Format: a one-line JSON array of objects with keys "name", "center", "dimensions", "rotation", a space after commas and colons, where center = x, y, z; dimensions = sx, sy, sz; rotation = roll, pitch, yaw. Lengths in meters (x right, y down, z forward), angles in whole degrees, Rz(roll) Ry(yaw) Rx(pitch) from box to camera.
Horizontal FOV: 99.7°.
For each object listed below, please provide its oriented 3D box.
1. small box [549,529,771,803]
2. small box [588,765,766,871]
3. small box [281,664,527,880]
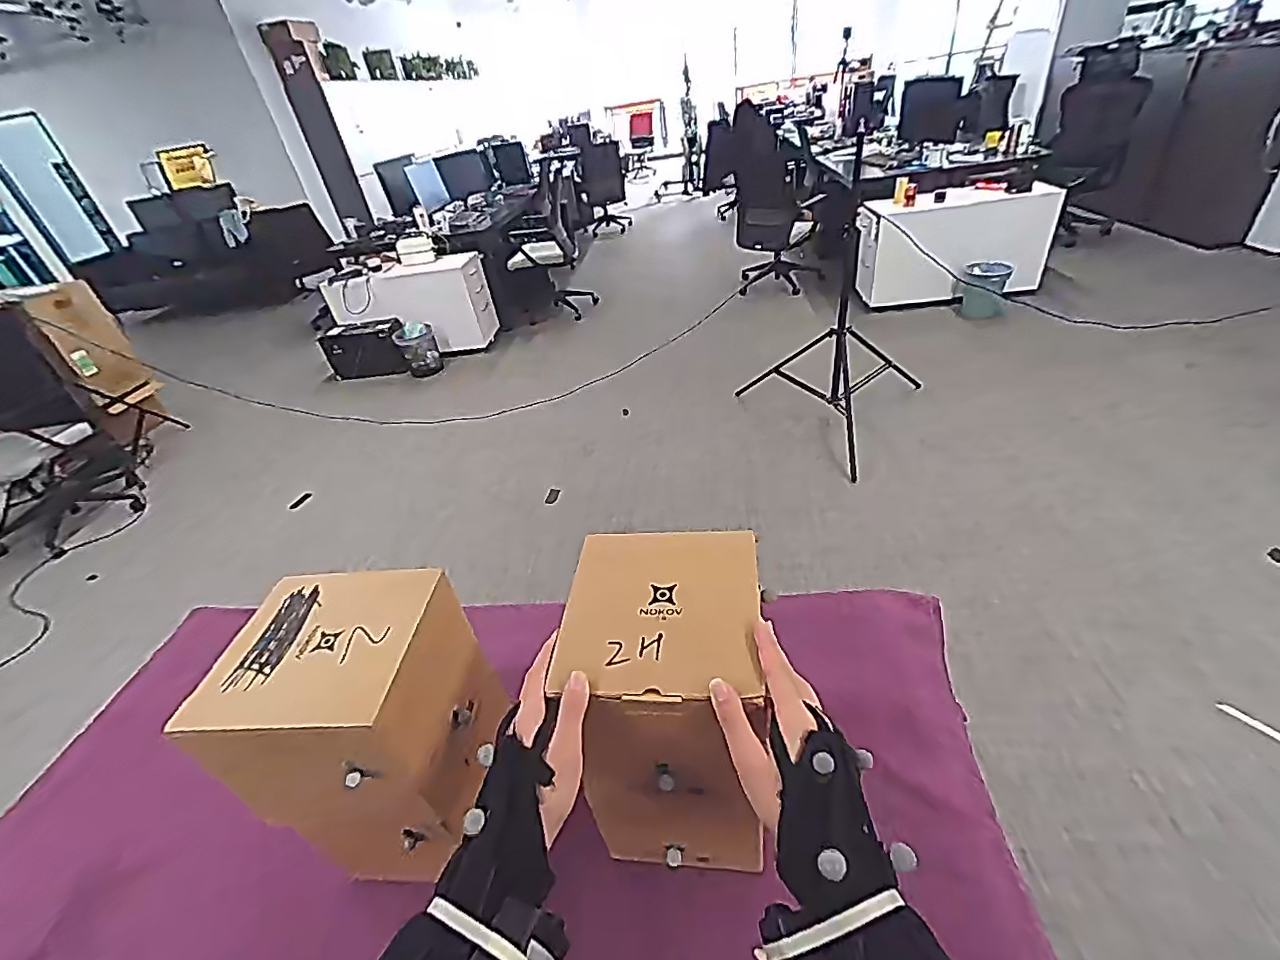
[{"name": "small box", "center": [0.032, 0.164, 0.502], "dimensions": [0.168, 0.176, 0.179], "rotation": [-3, 36, 11]}, {"name": "small box", "center": [0.051, 0.296, 0.601], "dimensions": [0.168, 0.176, 0.179], "rotation": [-2, 37, 11]}, {"name": "small box", "center": [-0.249, 0.333, 0.621], "dimensions": [0.179, 0.176, 0.168], "rotation": [-4, 36, 7]}]
